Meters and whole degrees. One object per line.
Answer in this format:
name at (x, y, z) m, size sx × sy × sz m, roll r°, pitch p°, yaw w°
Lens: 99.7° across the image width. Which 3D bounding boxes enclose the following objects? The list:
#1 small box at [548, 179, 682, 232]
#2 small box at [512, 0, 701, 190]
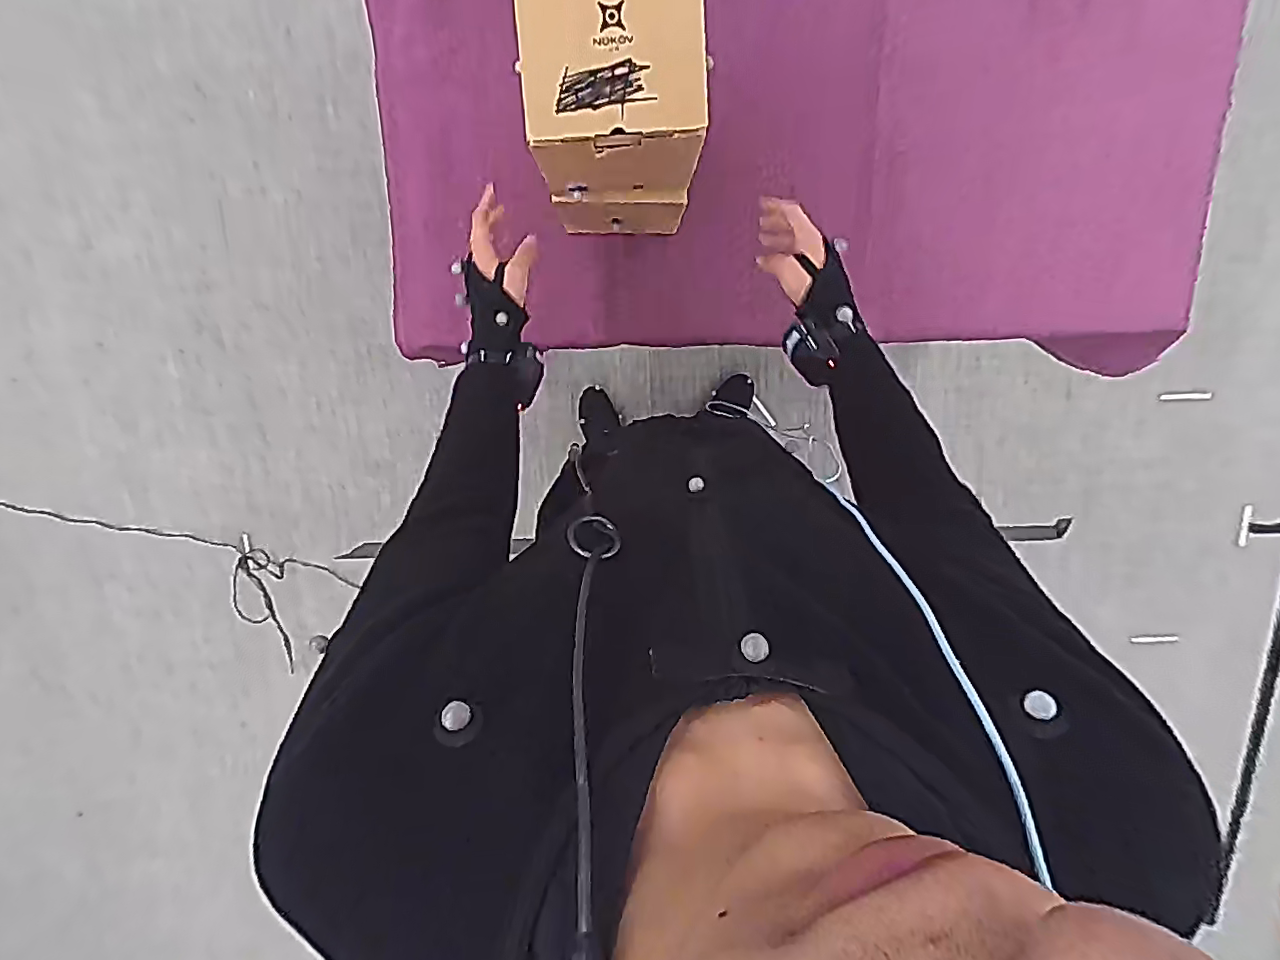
small box at (-0.029, -0.436, 0.714) m, size 0.168 × 0.176 × 0.179 m, roll 0°, pitch 103°, yaw -2°
small box at (-0.030, -0.411, 0.551) m, size 0.168 × 0.176 × 0.179 m, roll -4°, pitch 102°, yaw -1°
